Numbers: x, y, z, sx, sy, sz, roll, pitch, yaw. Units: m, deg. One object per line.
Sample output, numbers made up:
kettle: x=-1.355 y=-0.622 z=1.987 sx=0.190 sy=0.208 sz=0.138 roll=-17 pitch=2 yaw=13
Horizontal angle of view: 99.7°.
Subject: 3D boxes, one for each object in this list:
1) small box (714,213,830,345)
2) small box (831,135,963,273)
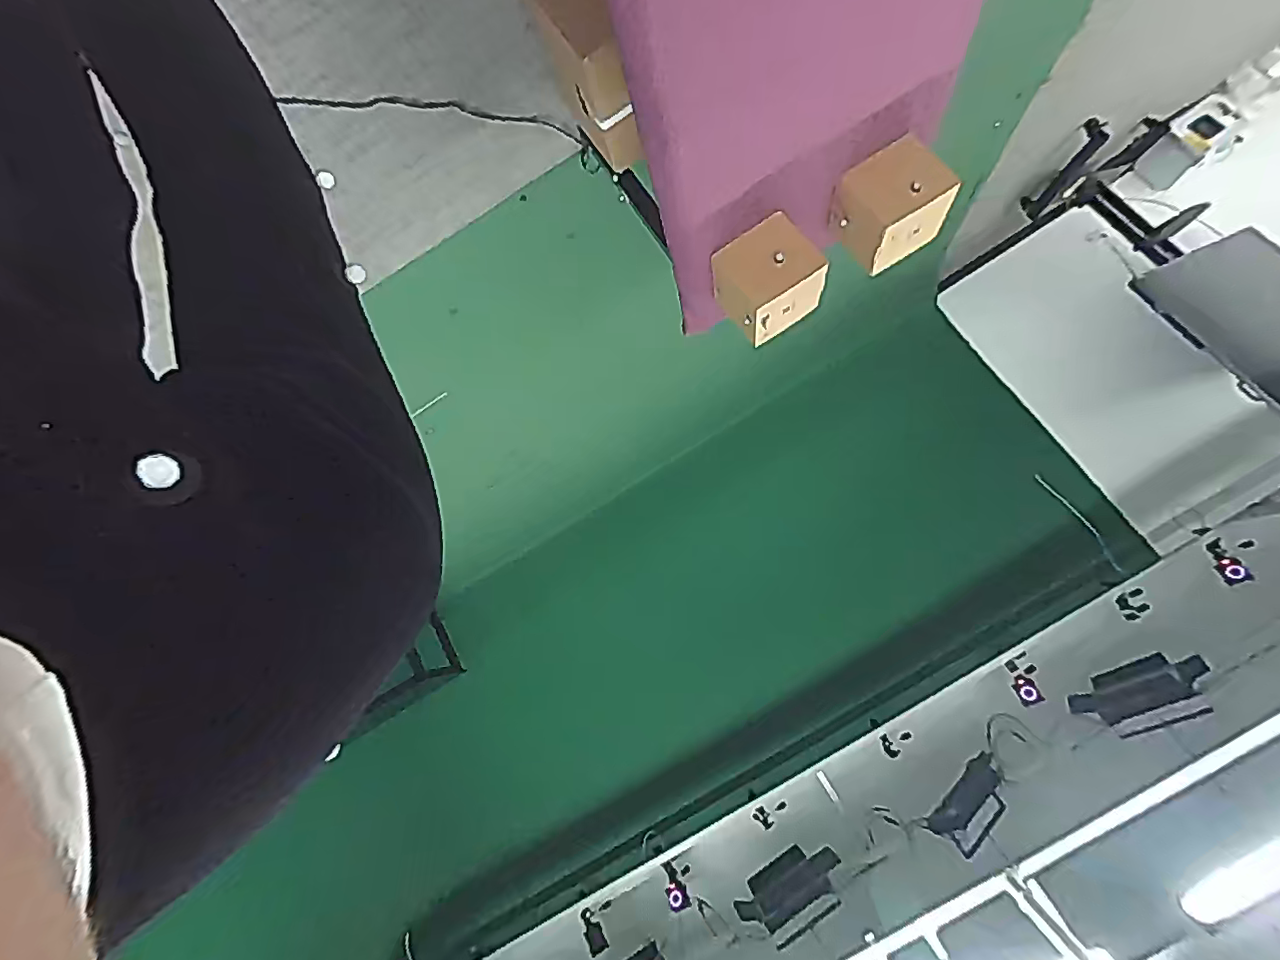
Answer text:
small box: x=0.282 y=-0.440 z=1.184 sx=0.179 sy=0.176 sz=0.168 roll=-35 pitch=161 yaw=1
small box: x=0.550 y=-0.605 z=1.184 sx=0.179 sy=0.176 sz=0.168 roll=-31 pitch=161 yaw=2
